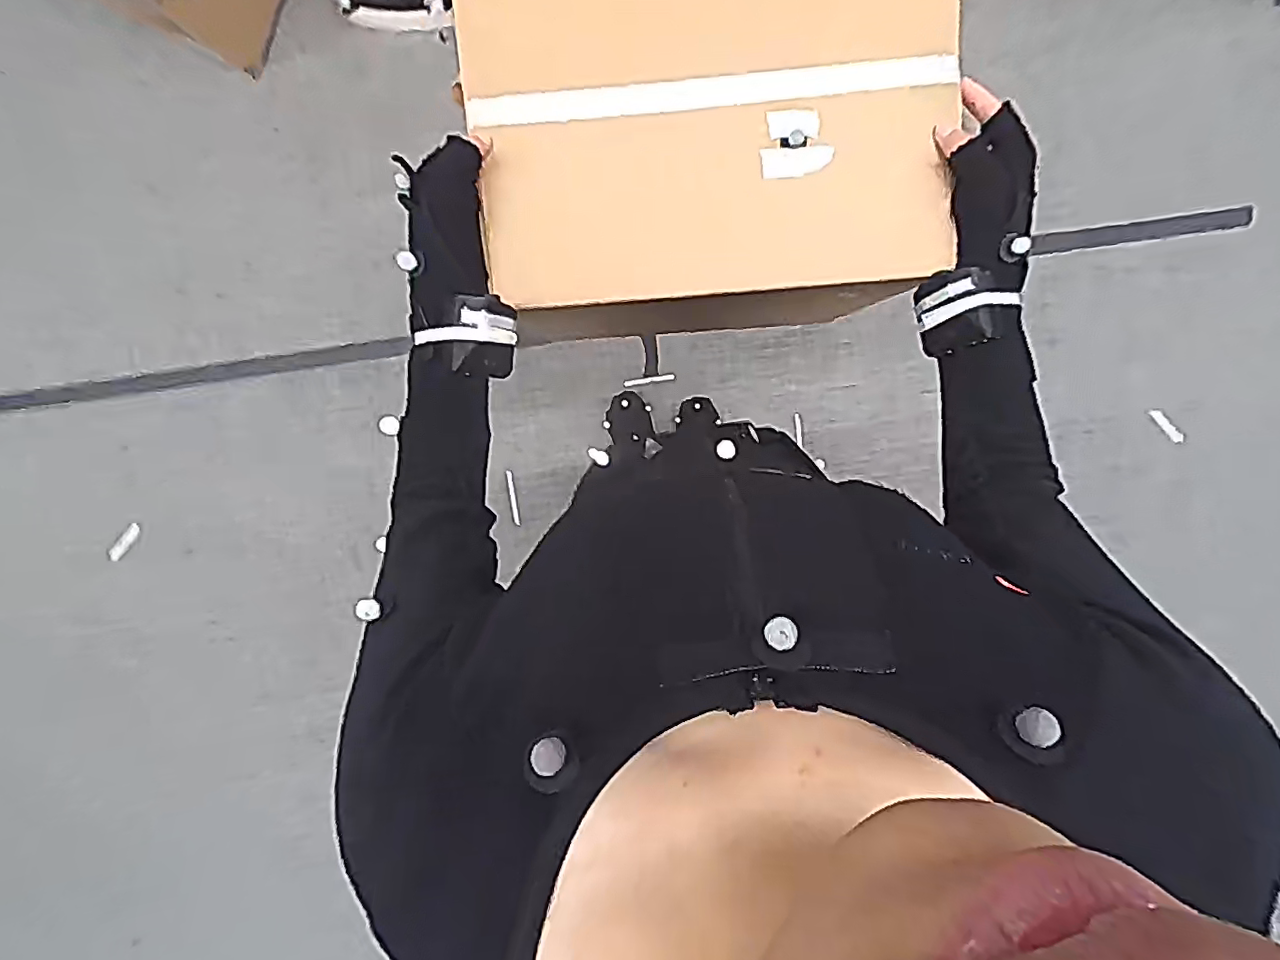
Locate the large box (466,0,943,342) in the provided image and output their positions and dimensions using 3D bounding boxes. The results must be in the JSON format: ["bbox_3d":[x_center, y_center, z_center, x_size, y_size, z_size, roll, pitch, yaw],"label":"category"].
[{"bbox_3d":[0.058,-0.343,0.613,0.408,0.320,0.320,-4,99,1],"label":"large box"}]
